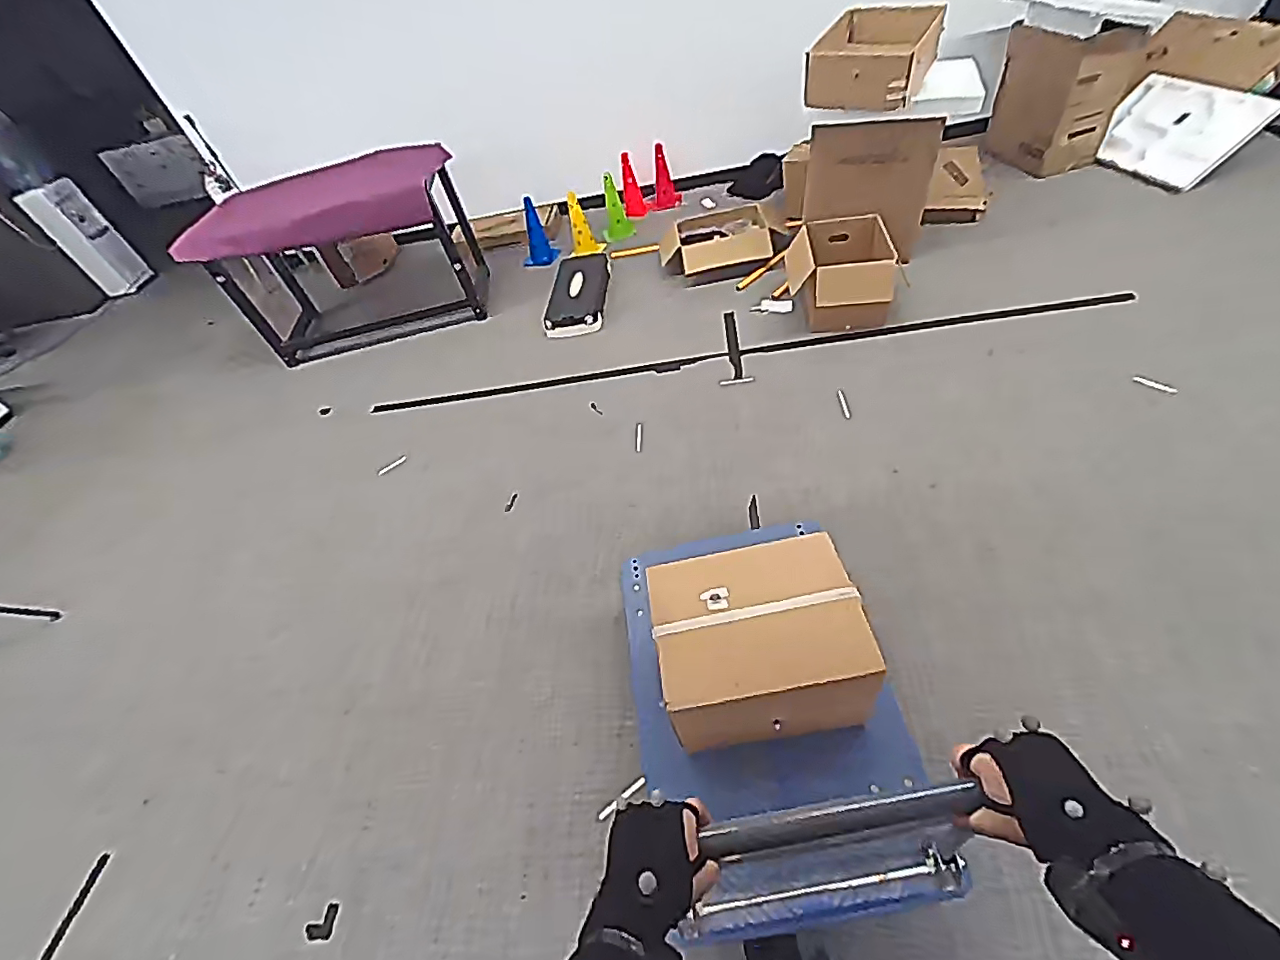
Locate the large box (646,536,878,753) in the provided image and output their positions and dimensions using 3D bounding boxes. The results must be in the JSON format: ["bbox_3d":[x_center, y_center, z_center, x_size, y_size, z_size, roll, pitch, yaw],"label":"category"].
[{"bbox_3d":[0.256,0.373,1.206,0.408,0.320,0.320,-13,47,4],"label":"large box"}]
